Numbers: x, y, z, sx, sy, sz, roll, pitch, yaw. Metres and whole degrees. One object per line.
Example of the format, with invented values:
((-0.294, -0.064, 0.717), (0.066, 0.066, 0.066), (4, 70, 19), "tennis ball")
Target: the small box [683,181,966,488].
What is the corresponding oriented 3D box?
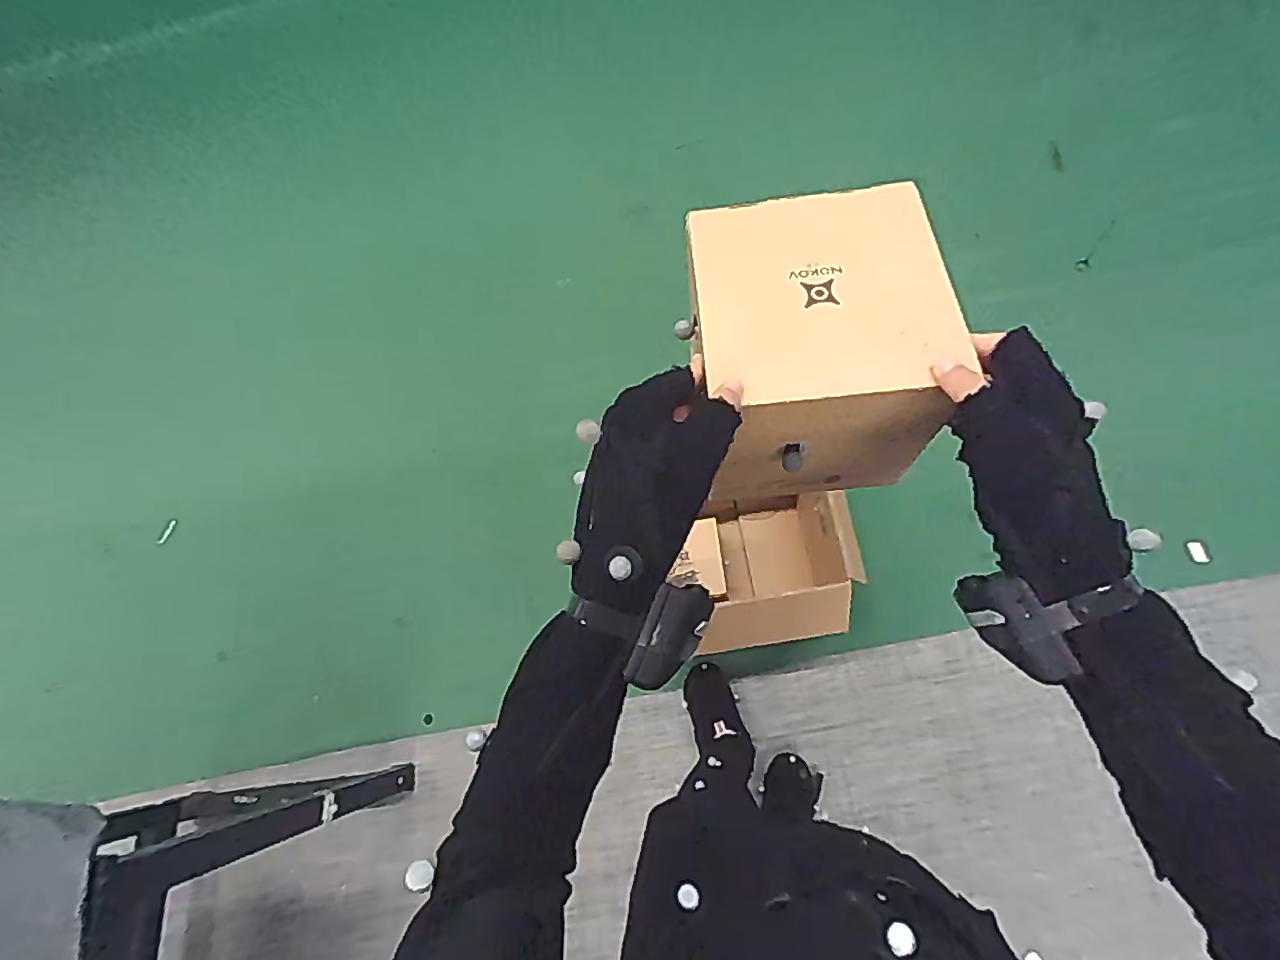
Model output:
((0.128, -0.101, 0.443), (0.168, 0.176, 0.179), (-5, 66, 6), "small box")
